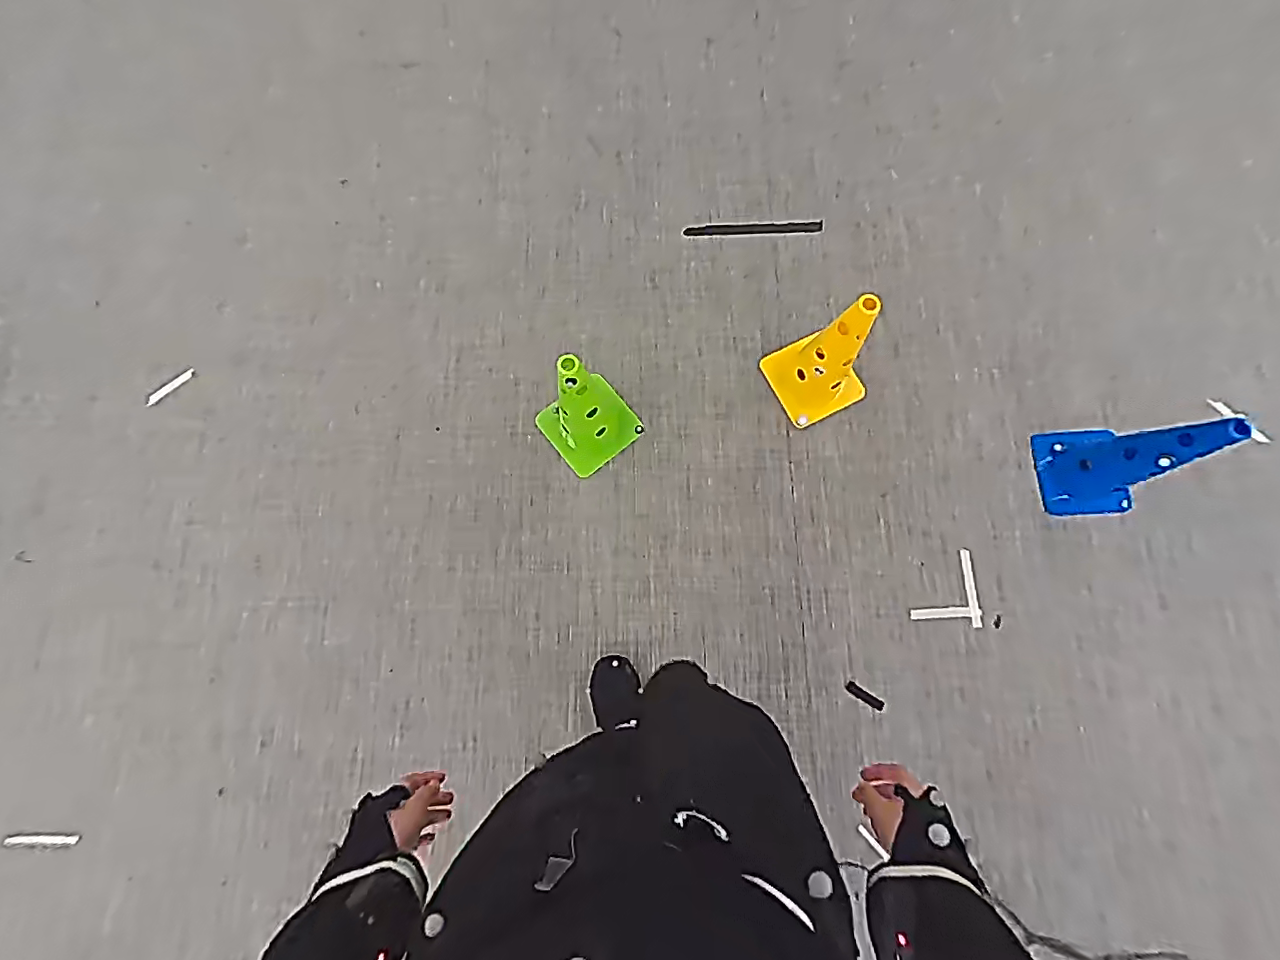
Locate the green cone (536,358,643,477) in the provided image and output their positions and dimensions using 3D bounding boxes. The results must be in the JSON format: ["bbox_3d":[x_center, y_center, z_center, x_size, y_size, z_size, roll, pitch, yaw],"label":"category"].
[{"bbox_3d":[-0.127,-0.169,1.136,0.202,0.368,0.200,-40,79,-6],"label":"green cone"}]
